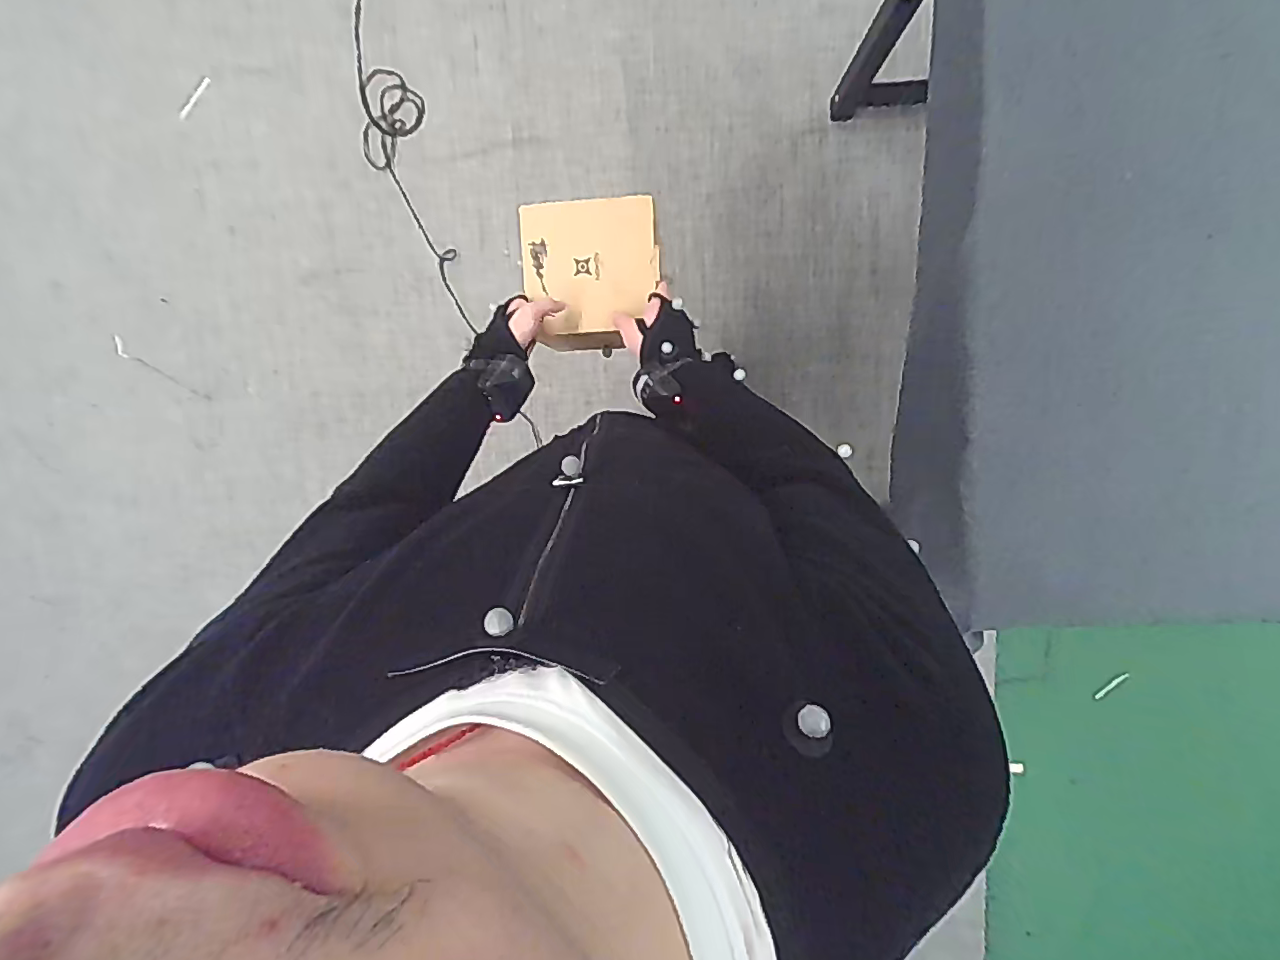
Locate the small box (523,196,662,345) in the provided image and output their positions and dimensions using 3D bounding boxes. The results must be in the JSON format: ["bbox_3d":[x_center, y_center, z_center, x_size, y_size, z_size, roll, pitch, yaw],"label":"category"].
[{"bbox_3d":[-0.057,-0.286,0.771,0.179,0.176,0.168,-1,97,4],"label":"small box"}]

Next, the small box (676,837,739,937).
[{"bbox_3d":[0.197,1.216,1.621,0.168,0.176,0.179,0,97,-1],"label":"small box"}]
